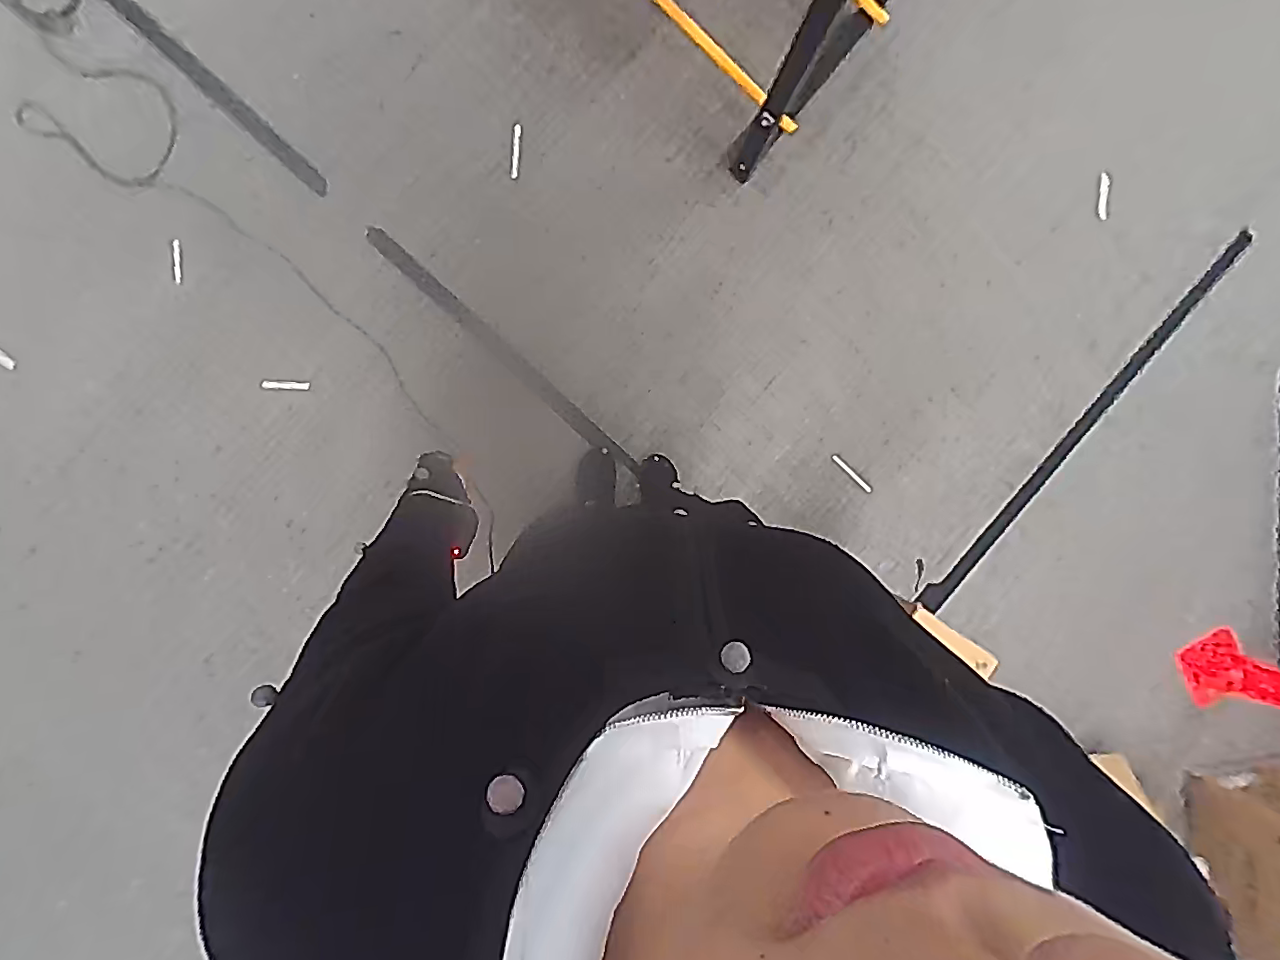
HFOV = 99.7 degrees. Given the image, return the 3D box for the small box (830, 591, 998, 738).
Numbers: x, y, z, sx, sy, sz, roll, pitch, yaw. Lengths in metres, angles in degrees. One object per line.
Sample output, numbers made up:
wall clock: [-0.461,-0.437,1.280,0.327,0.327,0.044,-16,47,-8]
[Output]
small box: [0.481,0.319,0.980,0.179,0.176,0.168,34,90,-5]
